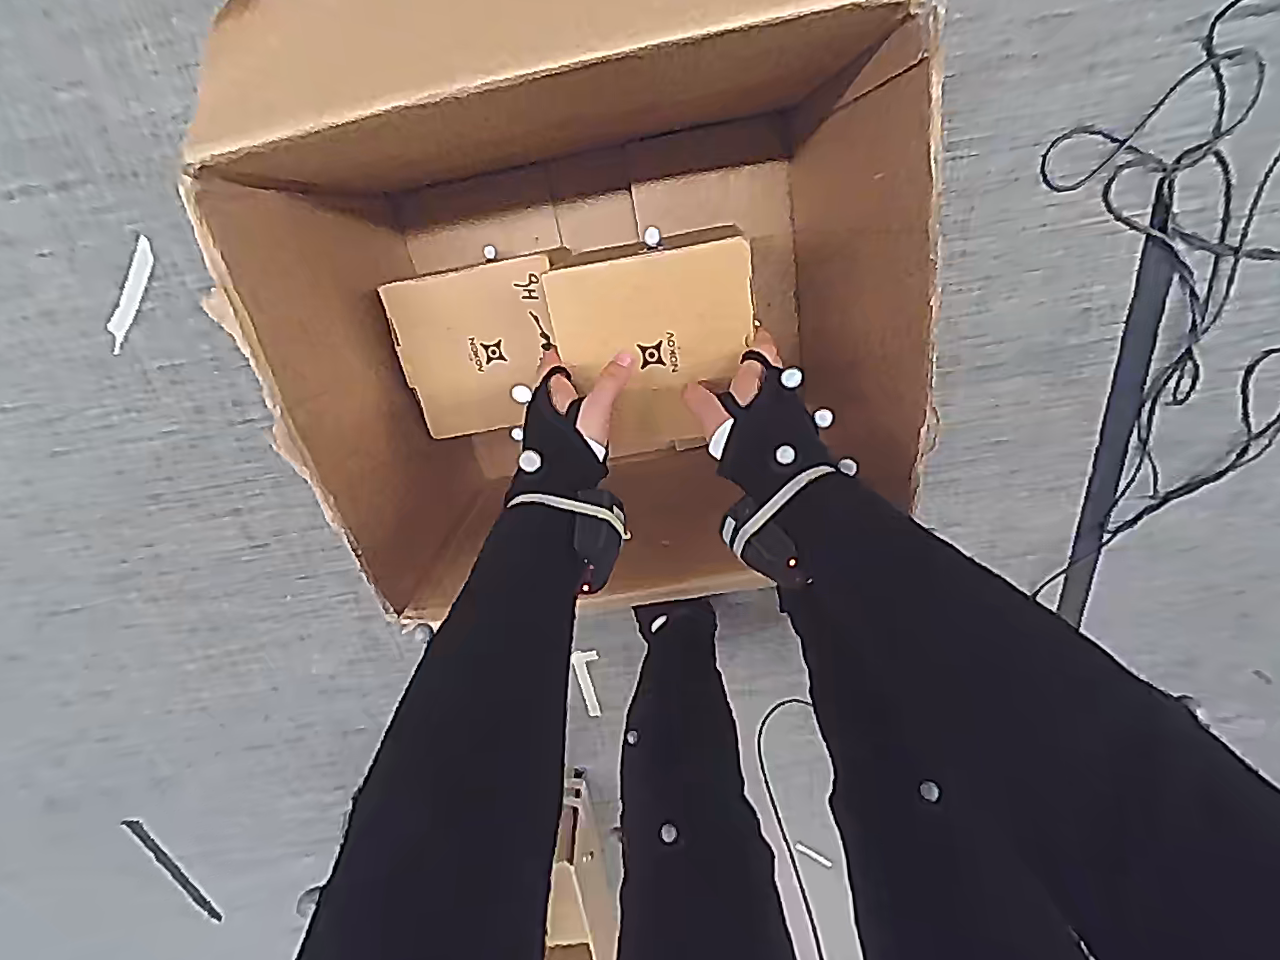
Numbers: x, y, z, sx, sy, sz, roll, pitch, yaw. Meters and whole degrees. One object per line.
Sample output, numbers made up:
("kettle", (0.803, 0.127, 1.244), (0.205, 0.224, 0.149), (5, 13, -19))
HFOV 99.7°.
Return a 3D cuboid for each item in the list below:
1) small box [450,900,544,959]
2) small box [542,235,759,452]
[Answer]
("small box", (-0.304, 1.045, 1.155), (0.168, 0.176, 0.179), (-6, 113, -2))
("small box", (0.019, -0.145, 0.553), (0.179, 0.176, 0.168), (-8, 117, 8))
